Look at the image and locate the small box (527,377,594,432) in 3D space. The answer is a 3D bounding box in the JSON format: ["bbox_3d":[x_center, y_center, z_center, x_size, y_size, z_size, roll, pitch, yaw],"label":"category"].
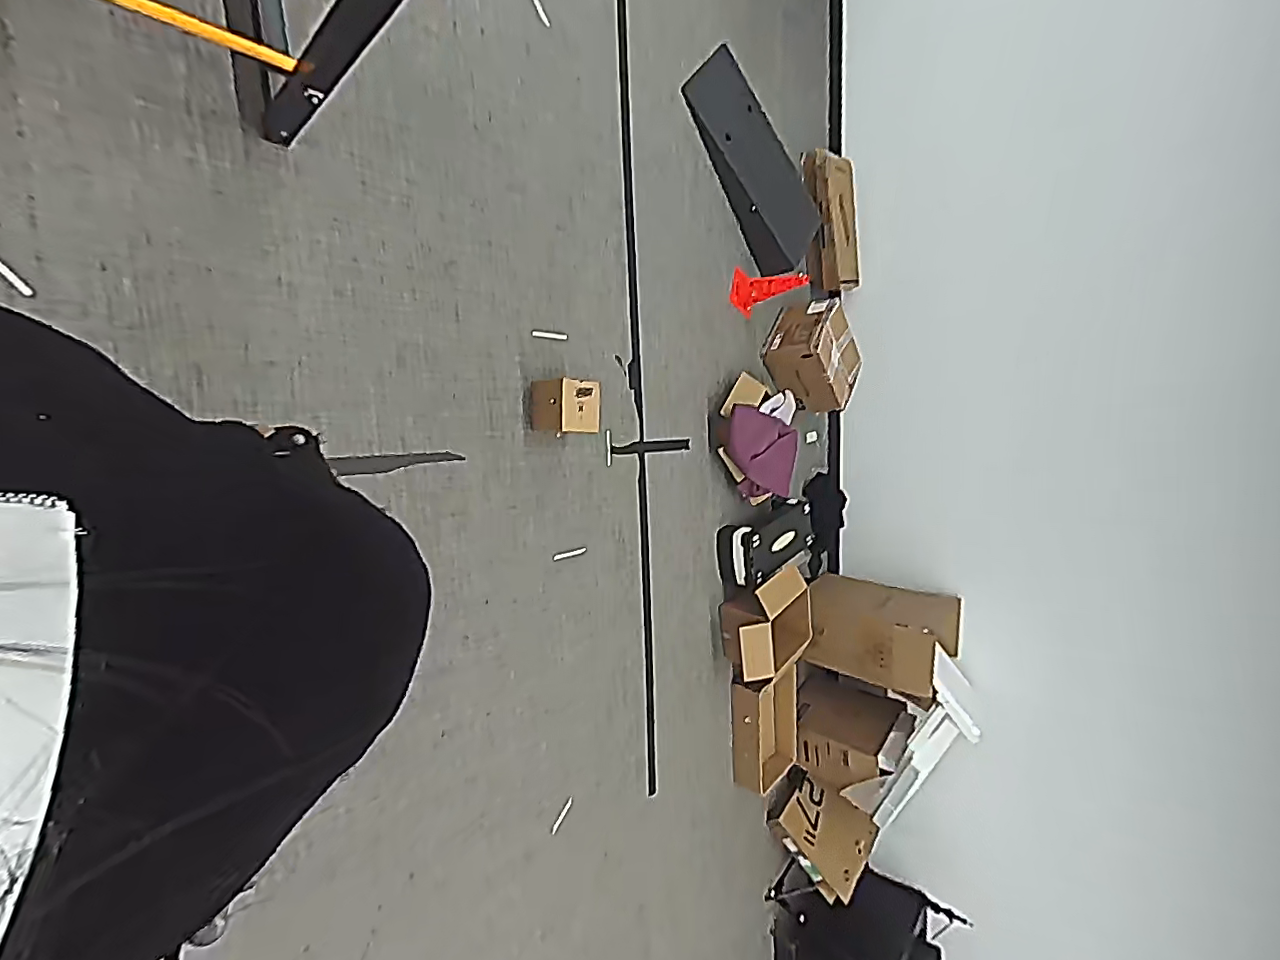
[{"bbox_3d":[-0.275,-0.256,1.868,0.168,0.176,0.179,-4,97,-48],"label":"small box"}]
